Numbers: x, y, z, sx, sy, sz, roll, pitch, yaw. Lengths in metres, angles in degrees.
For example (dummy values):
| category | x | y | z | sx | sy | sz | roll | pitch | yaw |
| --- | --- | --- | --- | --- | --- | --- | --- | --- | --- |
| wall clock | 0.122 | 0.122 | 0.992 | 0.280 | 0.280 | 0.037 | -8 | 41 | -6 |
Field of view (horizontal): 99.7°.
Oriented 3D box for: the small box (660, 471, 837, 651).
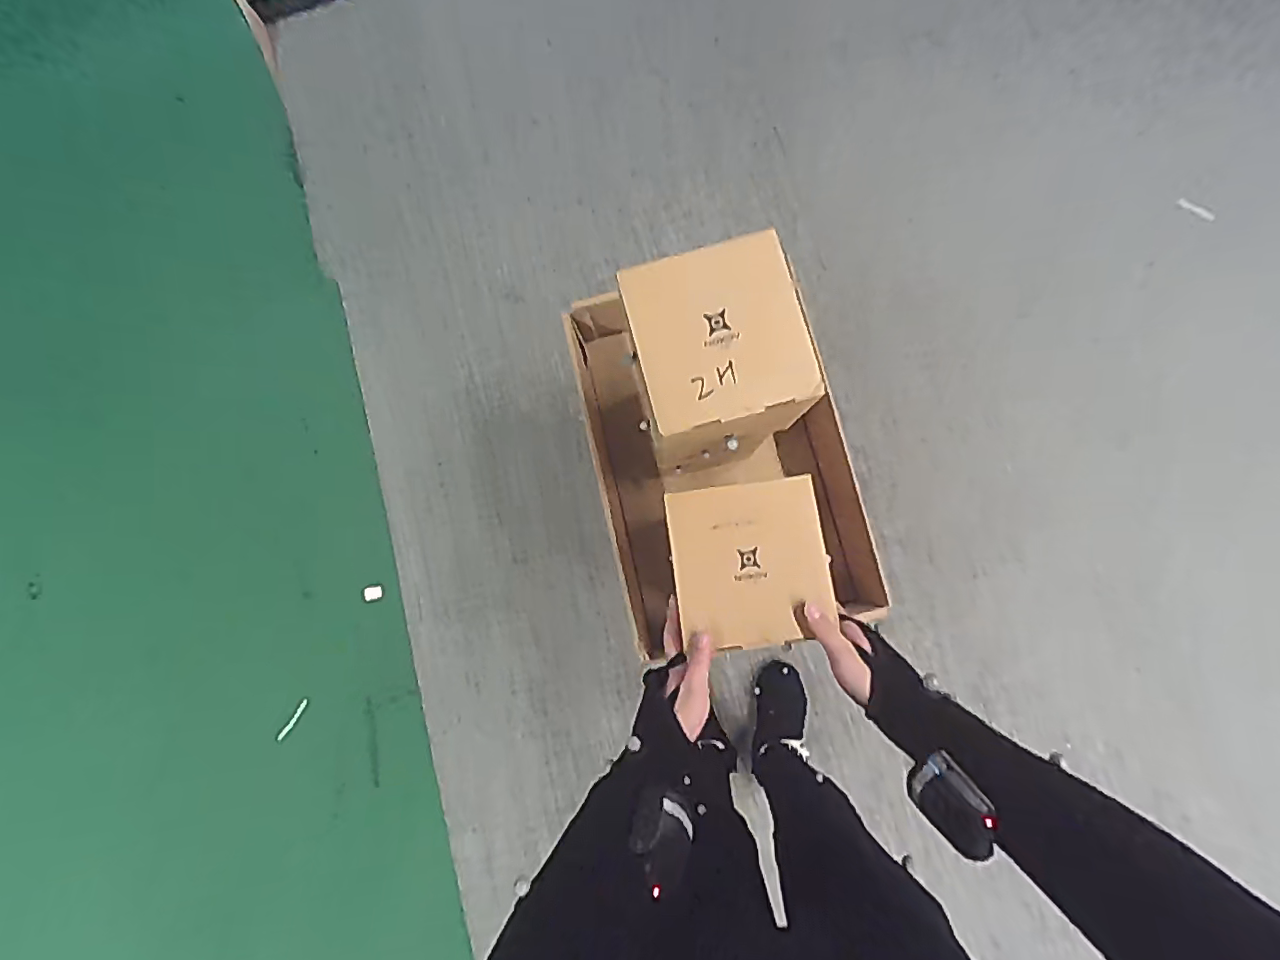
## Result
| category | x | y | z | sx | sy | sz | roll | pitch | yaw |
| --- | --- | --- | --- | --- | --- | --- | --- | --- | --- |
| small box | 0.120 | 0.100 | 0.652 | 0.168 | 0.176 | 0.179 | -8 | 77 | 3 |

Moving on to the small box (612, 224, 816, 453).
| category | x | y | z | sx | sy | sz | roll | pitch | yaw |
| --- | --- | --- | --- | --- | --- | --- | --- | --- | --- |
| small box | 0.074 | -0.143 | 0.607 | 0.168 | 0.176 | 0.179 | -16 | 84 | 3 |
